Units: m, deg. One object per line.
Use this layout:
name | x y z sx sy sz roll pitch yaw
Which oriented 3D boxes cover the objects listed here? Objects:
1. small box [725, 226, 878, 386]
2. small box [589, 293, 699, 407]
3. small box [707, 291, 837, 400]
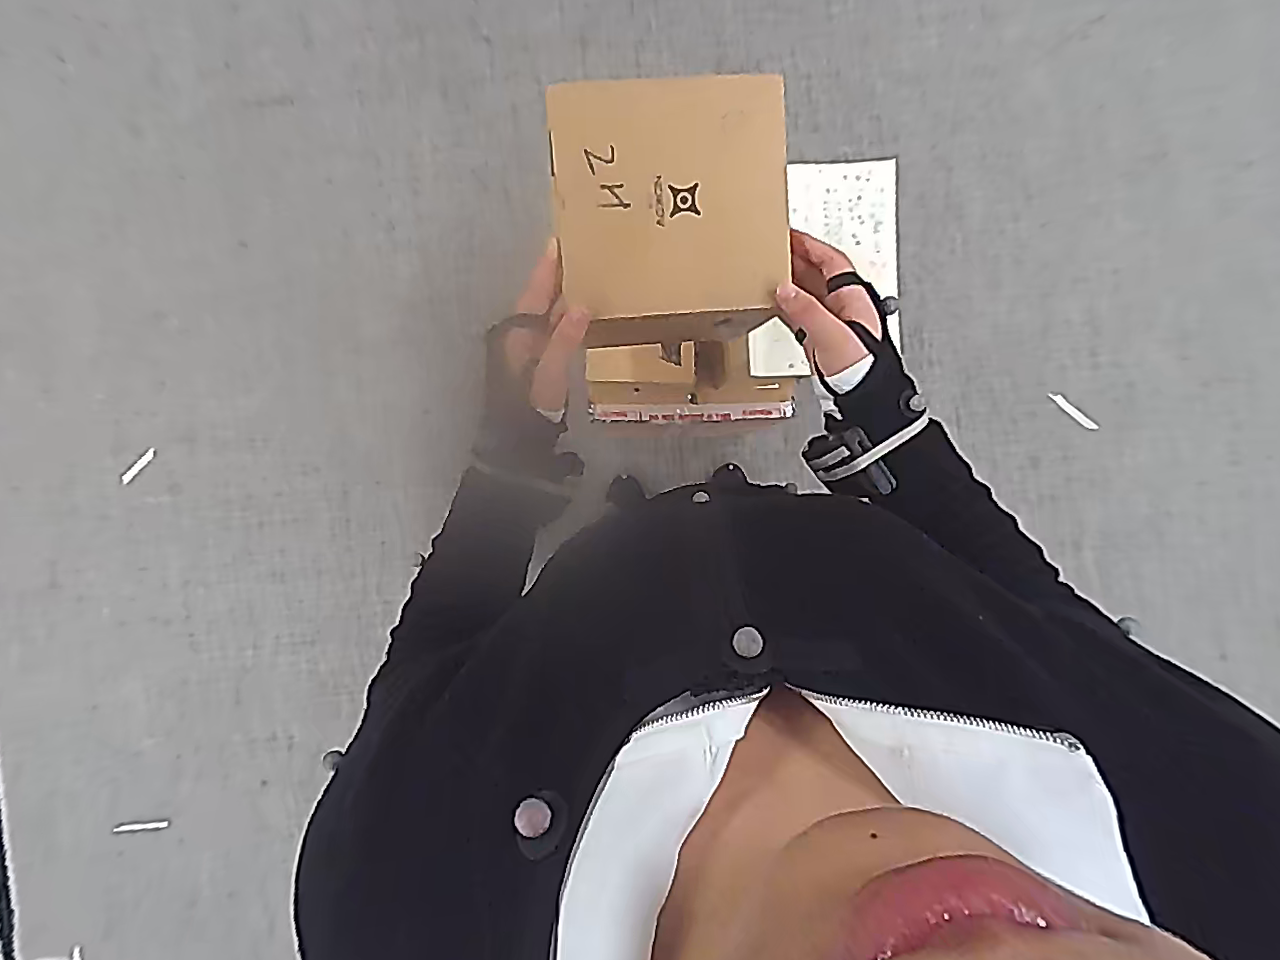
small box | 0.224 -0.244 0.790 0.168 0.176 0.179 -5 91 -1
small box | 0.008 -0.221 0.954 0.179 0.176 0.168 2 92 2
small box | 0.225 -0.239 0.953 0.179 0.176 0.168 -7 91 -1
